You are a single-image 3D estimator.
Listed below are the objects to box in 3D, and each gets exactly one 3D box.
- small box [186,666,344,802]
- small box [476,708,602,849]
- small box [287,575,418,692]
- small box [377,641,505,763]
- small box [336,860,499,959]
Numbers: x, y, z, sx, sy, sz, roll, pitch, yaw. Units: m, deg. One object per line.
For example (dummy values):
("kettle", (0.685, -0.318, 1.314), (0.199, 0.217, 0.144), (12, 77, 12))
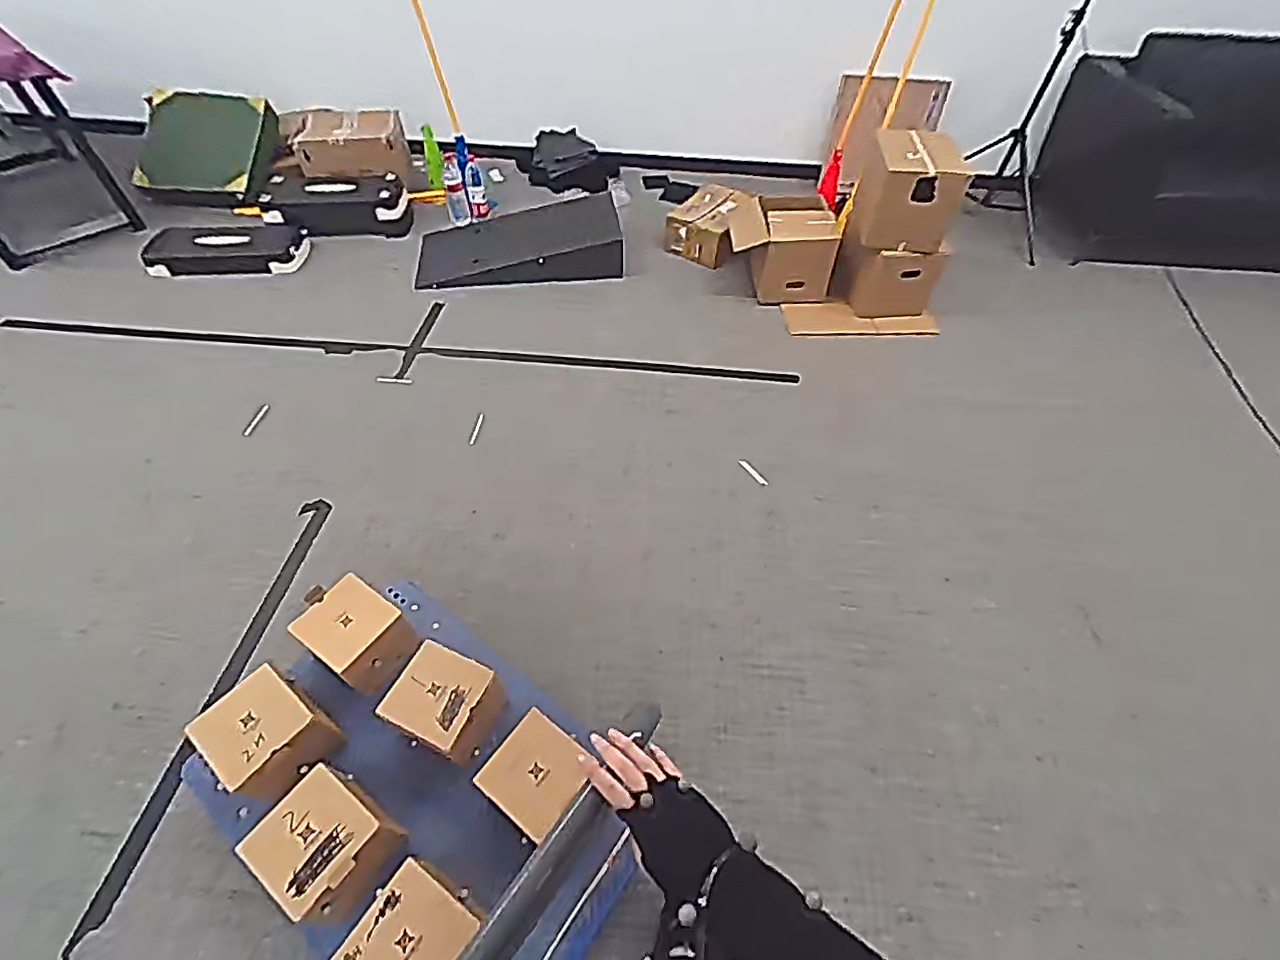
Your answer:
("small box", (-0.743, 0.516, 1.090), (0.179, 0.176, 0.168), (33, 58, 20))
("small box", (-0.190, 0.590, 1.065), (0.179, 0.176, 0.168), (31, 56, 20))
("small box", (-0.638, 0.354, 1.224), (0.179, 0.176, 0.168), (28, 56, 18))
("small box", (-0.407, 0.475, 1.142), (0.179, 0.176, 0.168), (20, 54, 13))
("small box", (-0.360, 0.778, 0.906), (0.179, 0.176, 0.168), (28, 55, 17))
